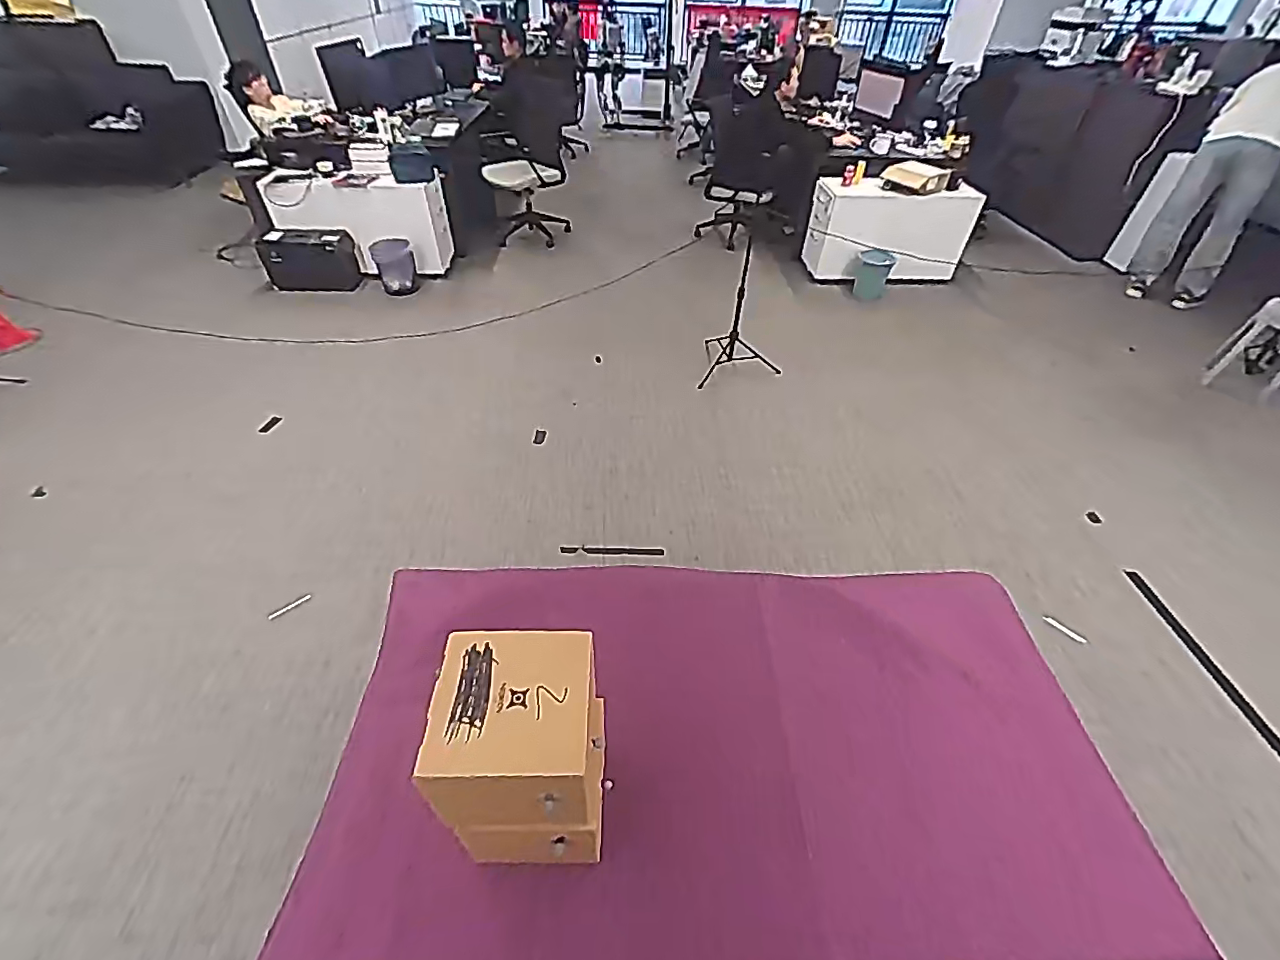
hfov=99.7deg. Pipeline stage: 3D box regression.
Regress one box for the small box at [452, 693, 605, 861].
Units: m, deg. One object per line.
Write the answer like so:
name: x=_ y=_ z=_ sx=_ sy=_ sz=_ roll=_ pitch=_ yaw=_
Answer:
small box: x=-0.142 y=0.419 z=0.762 sx=0.179 sy=0.176 sz=0.168 roll=2 pitch=43 yaw=-1
